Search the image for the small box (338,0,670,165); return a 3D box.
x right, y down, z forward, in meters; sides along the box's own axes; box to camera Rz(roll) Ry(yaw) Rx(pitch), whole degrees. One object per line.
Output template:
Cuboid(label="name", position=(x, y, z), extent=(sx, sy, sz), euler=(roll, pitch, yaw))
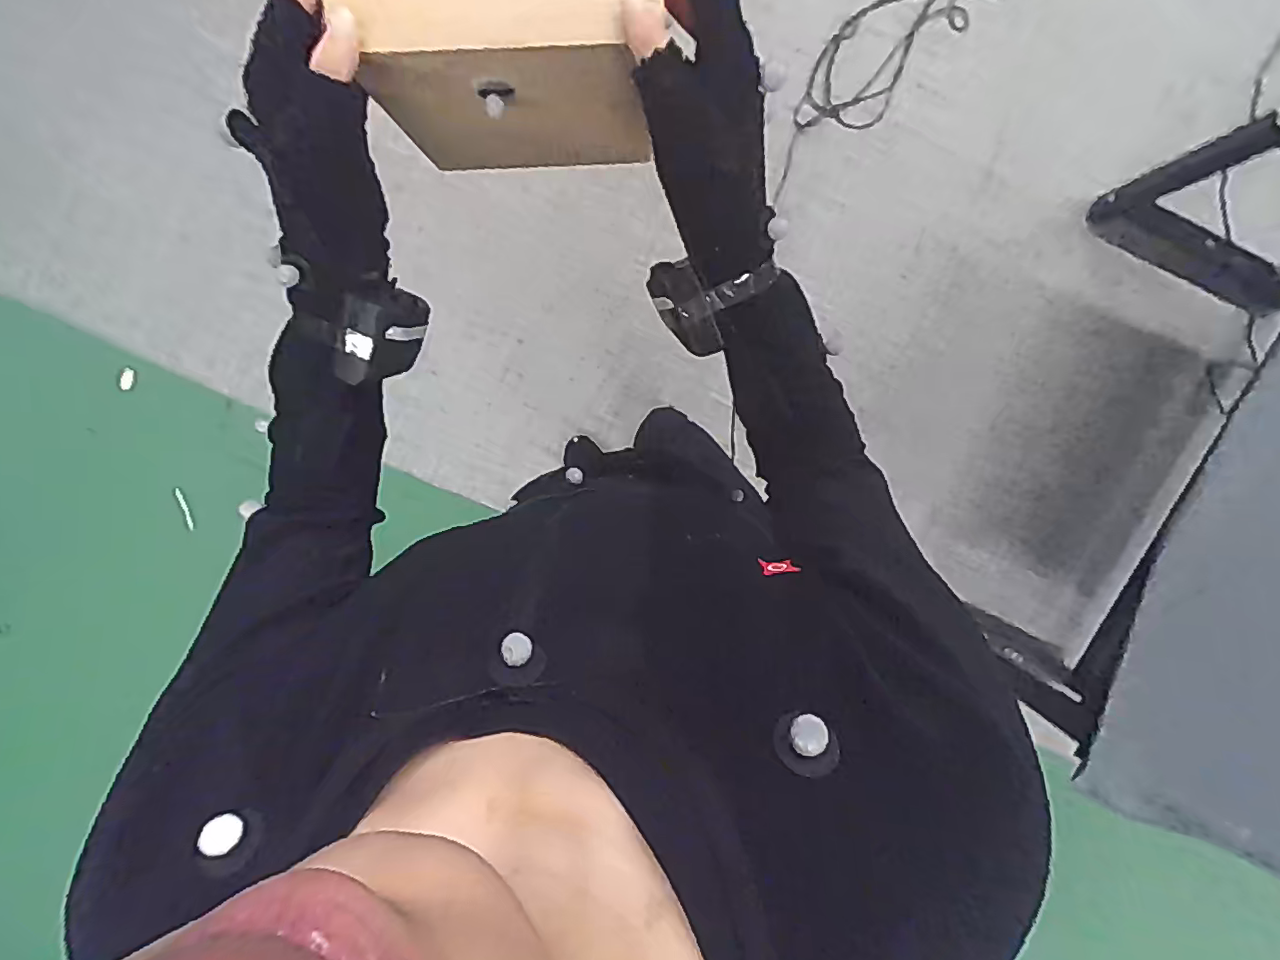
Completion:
Cuboid(label="small box", position=(-0.073, -0.322, 0.349), extent=(0.179, 0.176, 0.168), euler=(-2, 101, -1))
